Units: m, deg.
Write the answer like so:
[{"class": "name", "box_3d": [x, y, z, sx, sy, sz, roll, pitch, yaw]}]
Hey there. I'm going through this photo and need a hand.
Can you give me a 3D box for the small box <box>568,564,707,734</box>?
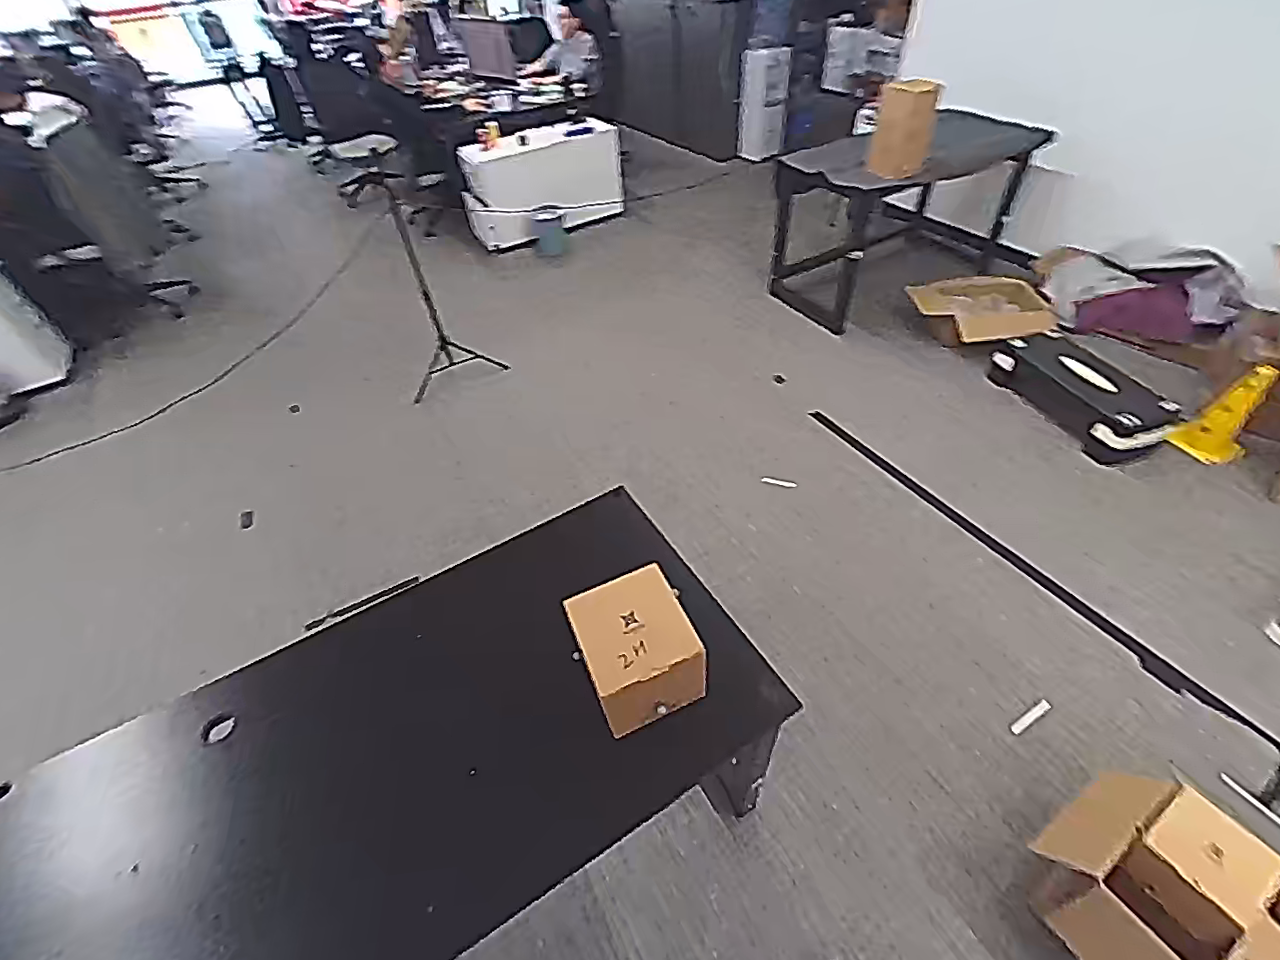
[{"class": "small box", "box_3d": [-0.004, 0.274, 0.876, 0.168, 0.176, 0.179, -21, 48, -12]}]
